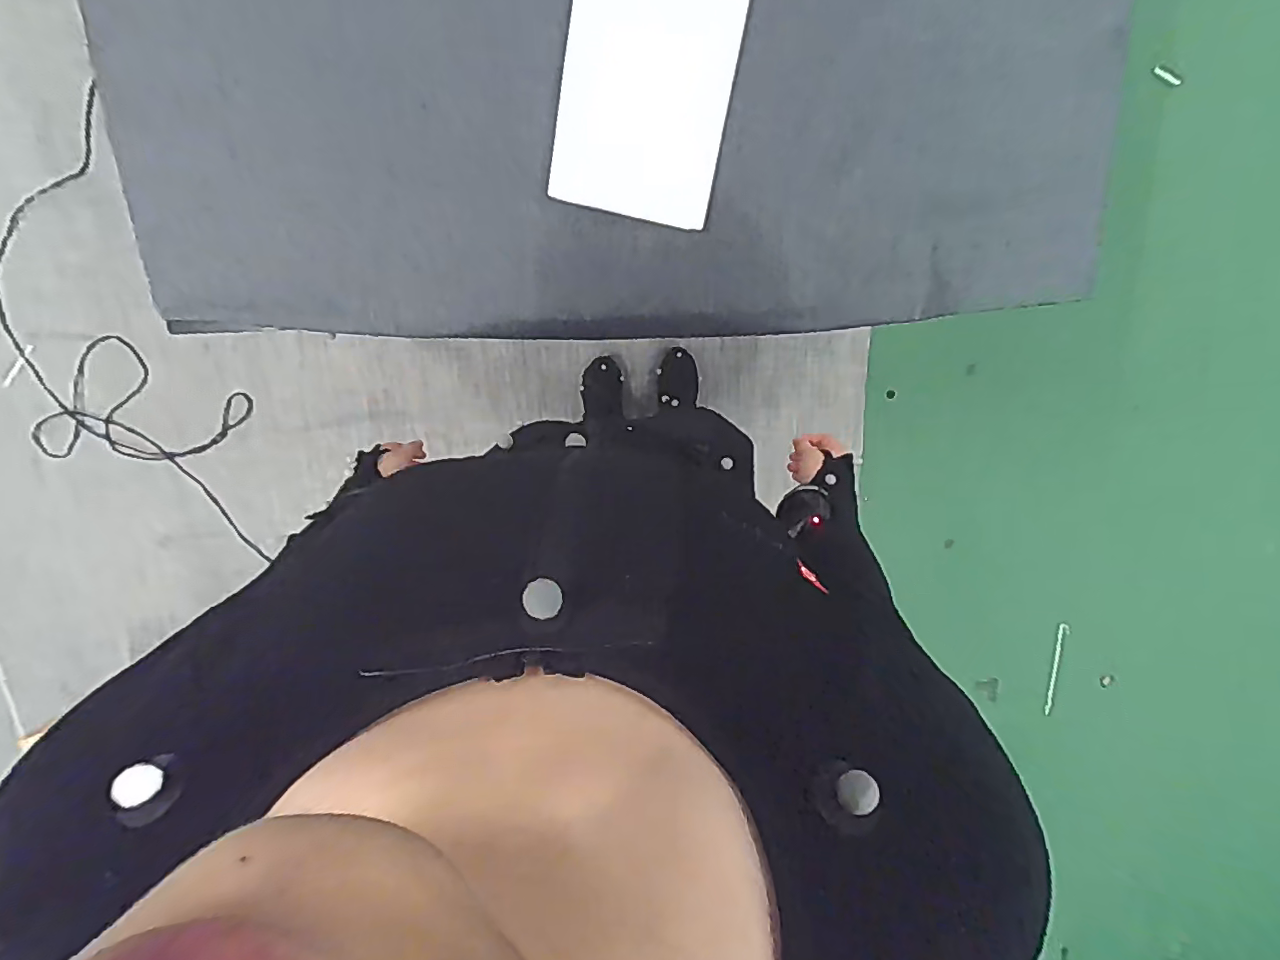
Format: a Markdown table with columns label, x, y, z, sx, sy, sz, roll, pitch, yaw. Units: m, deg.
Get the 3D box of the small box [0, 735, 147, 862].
| label | x | y | z | sx | sy | sz | roll | pitch | yaw |
| --- | --- | --- | --- | --- | --- | --- | --- | --- | --- |
| small box | -1.284 | 0.713 | 1.228 | 0.179 | 0.176 | 0.168 | 19 | 101 | -8 |
